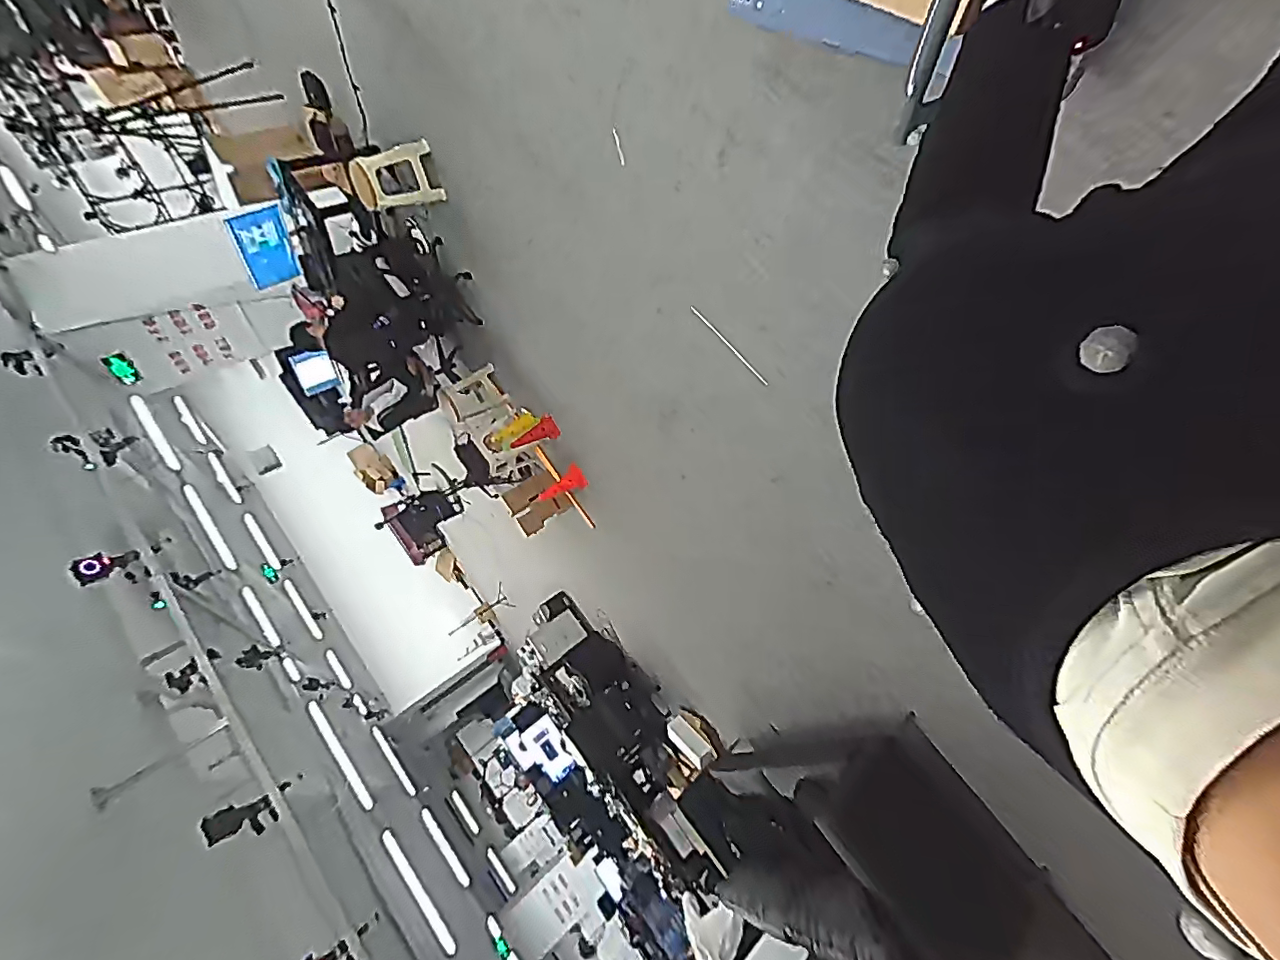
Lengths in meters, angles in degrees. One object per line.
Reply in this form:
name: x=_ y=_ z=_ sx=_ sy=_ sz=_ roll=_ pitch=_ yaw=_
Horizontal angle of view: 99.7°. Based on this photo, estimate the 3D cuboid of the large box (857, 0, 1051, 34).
large box: x=0.516 y=-1.000 z=0.890 sx=0.408 sy=0.320 sz=0.320 roll=45 pitch=150 yaw=23
